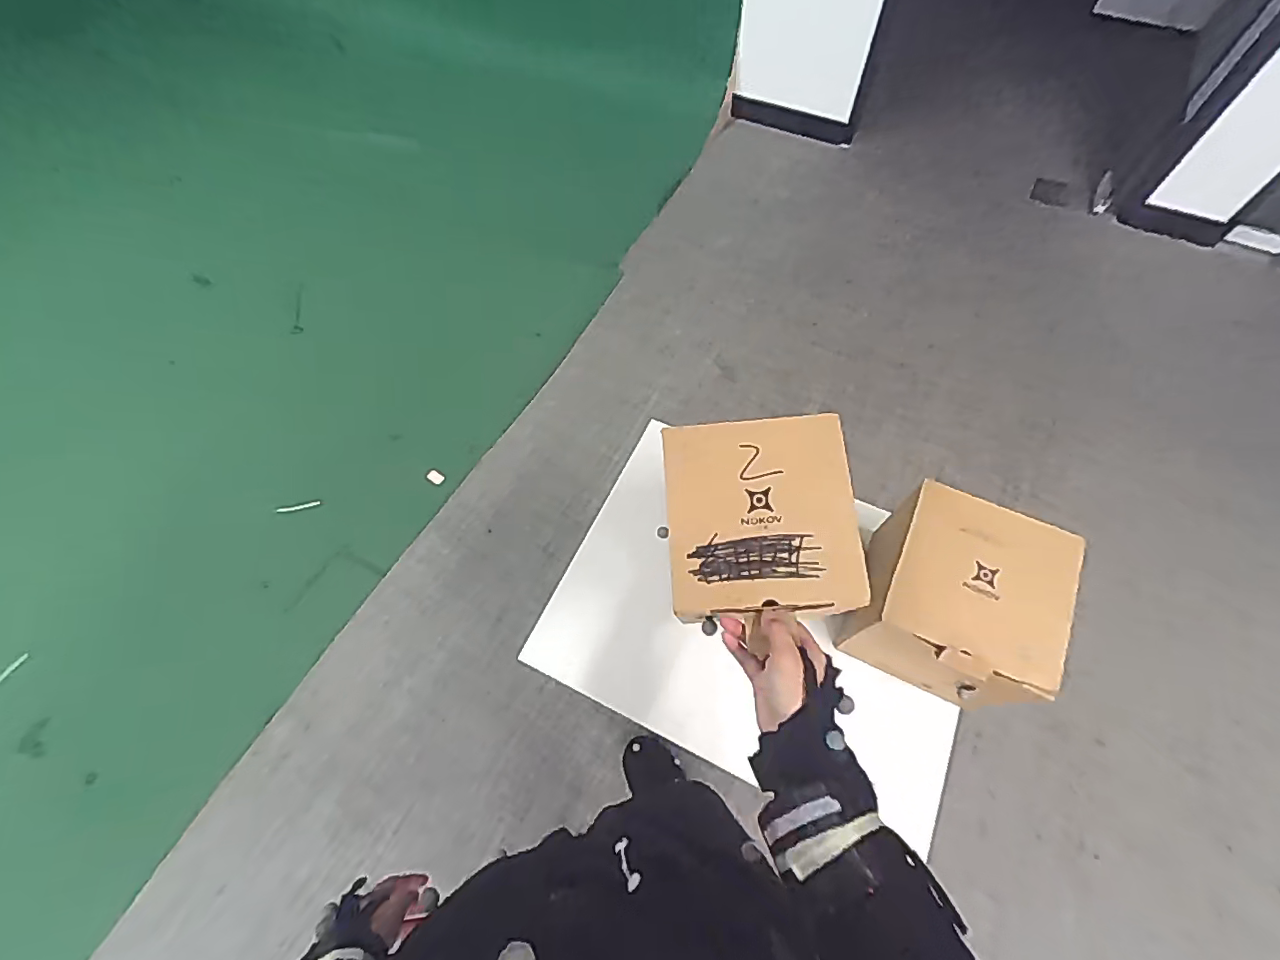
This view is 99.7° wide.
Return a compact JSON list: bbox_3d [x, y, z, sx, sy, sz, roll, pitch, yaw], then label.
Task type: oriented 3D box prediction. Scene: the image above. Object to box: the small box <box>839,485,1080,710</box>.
[{"bbox_3d":[0.343,0.140,0.610,0.168,0.176,0.179,23,66,12],"label":"small box"}]
